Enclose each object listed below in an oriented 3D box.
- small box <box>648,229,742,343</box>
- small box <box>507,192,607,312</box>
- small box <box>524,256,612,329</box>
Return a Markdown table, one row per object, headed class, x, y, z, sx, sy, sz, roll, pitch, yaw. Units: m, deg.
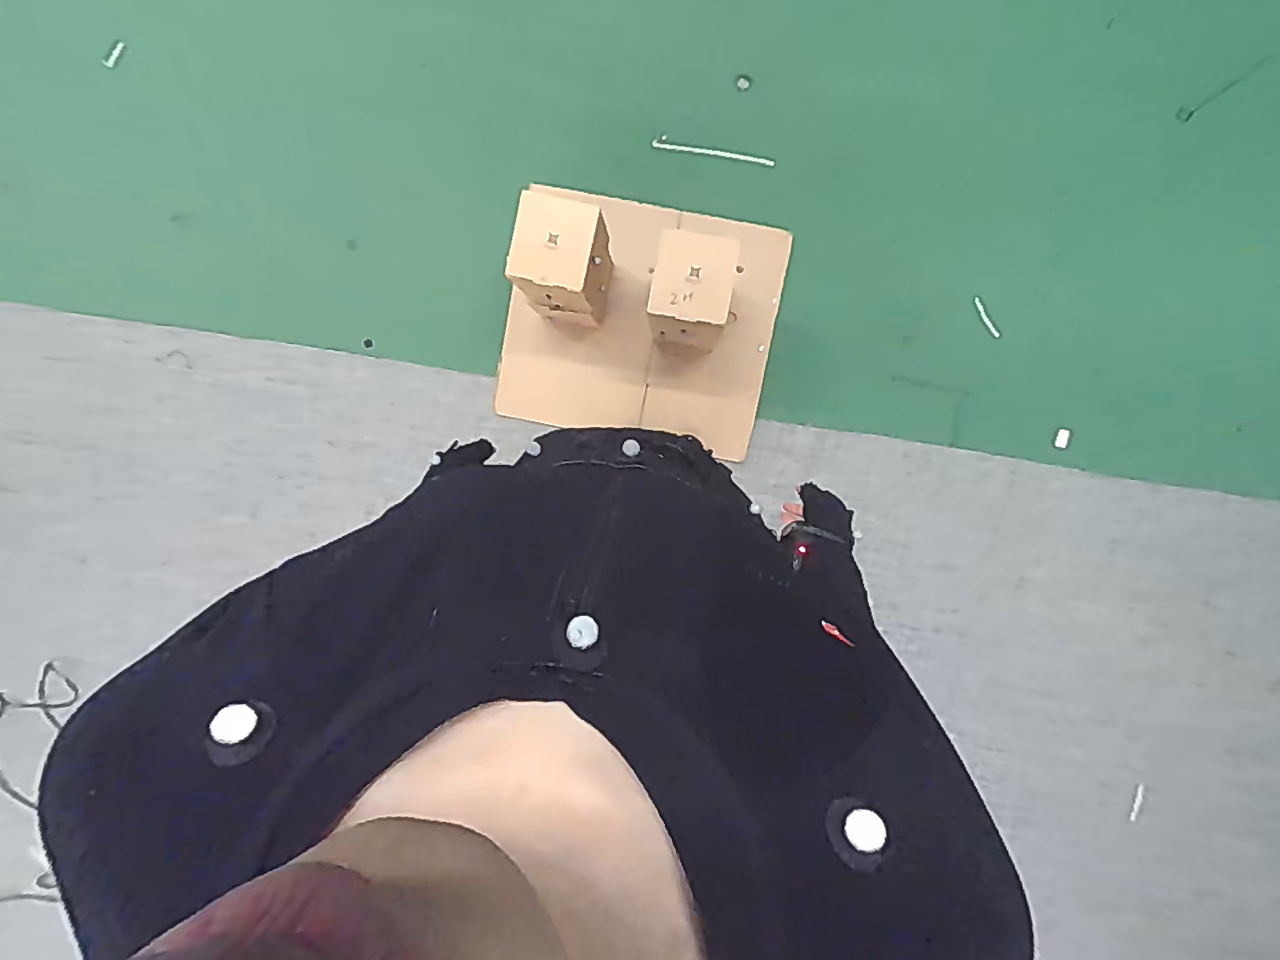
| class | x | y | z | sx | sy | sz | roll | pitch | yaw |
| --- | --- | --- | --- | --- | --- | --- | --- | --- | --- |
| small box | 0.113 | -0.409 | 1.165 | 0.168 | 0.176 | 0.179 | 11 | 94 | 3 |
| small box | -0.171 | -0.485 | 1.175 | 0.168 | 0.176 | 0.179 | 14 | 95 | 2 |
| small box | -0.170 | -0.486 | 1.338 | 0.168 | 0.176 | 0.179 | 13 | 94 | 2 |
